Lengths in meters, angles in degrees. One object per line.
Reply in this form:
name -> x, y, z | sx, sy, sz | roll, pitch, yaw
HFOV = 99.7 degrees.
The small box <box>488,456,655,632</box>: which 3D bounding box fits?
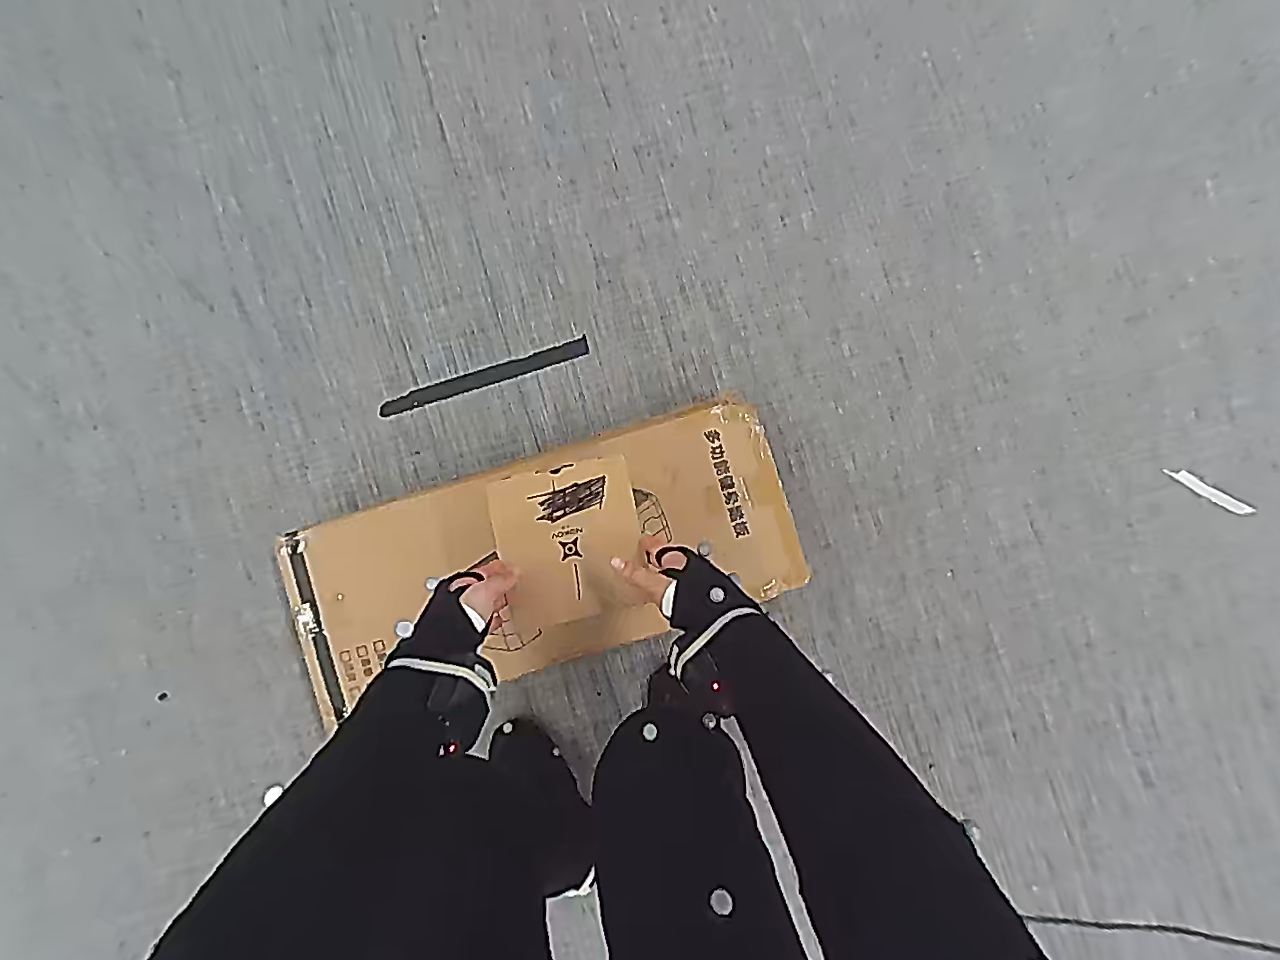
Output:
small box -> -0.082, 0.084, 0.693 | 0.168, 0.176, 0.179 | -12, 82, -3
